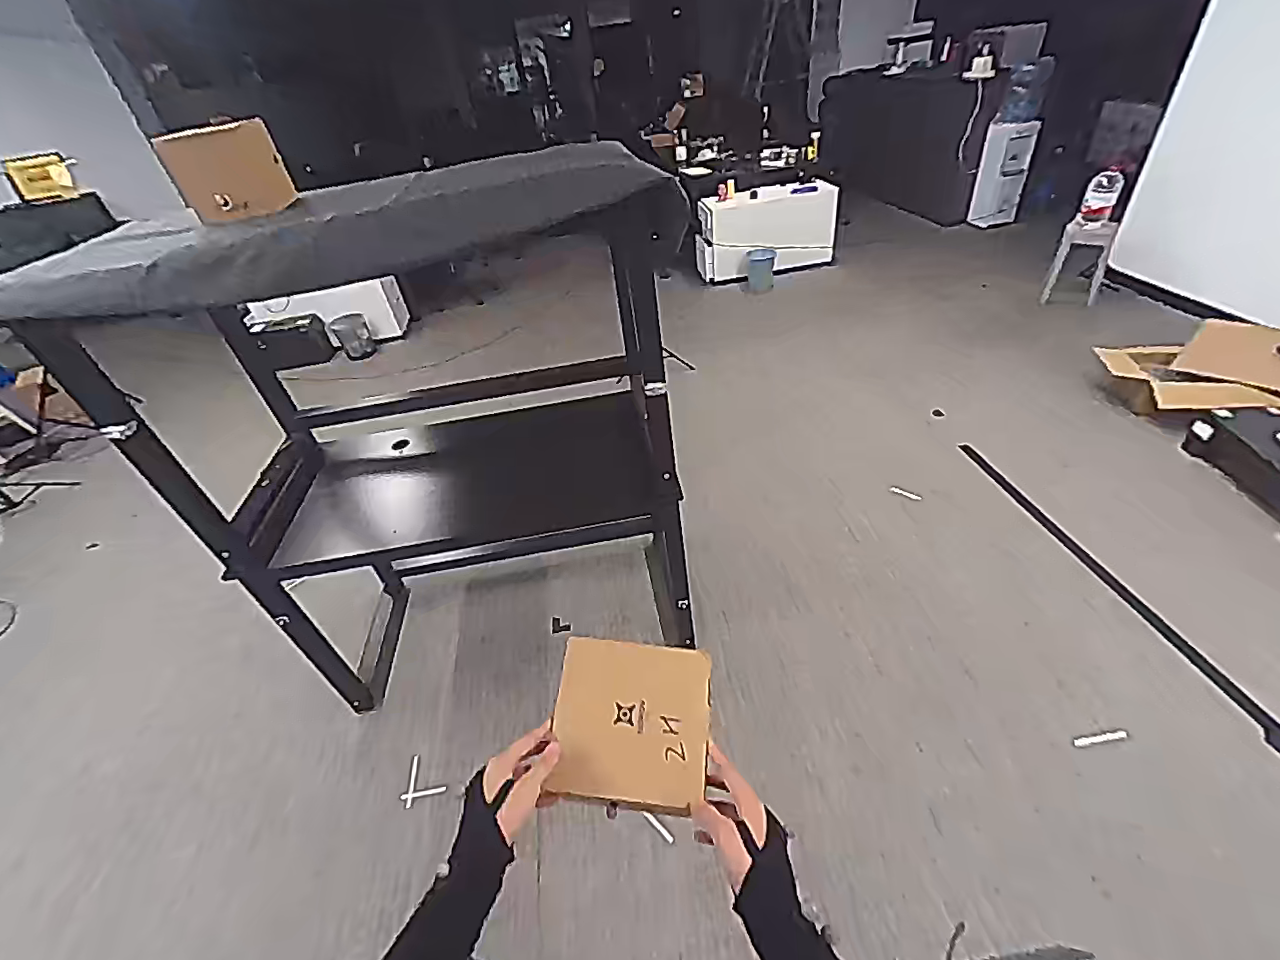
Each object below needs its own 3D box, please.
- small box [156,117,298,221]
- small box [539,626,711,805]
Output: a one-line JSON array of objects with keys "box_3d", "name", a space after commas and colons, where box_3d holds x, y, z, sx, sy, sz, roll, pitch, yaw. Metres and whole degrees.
[{"box_3d": [-0.899, -0.691, 1.203, 0.168, 0.176, 0.179, -14, 39, -5], "name": "small box"}, {"box_3d": [-0.013, 0.295, 0.667, 0.179, 0.176, 0.168, 7, 57, 2], "name": "small box"}]
